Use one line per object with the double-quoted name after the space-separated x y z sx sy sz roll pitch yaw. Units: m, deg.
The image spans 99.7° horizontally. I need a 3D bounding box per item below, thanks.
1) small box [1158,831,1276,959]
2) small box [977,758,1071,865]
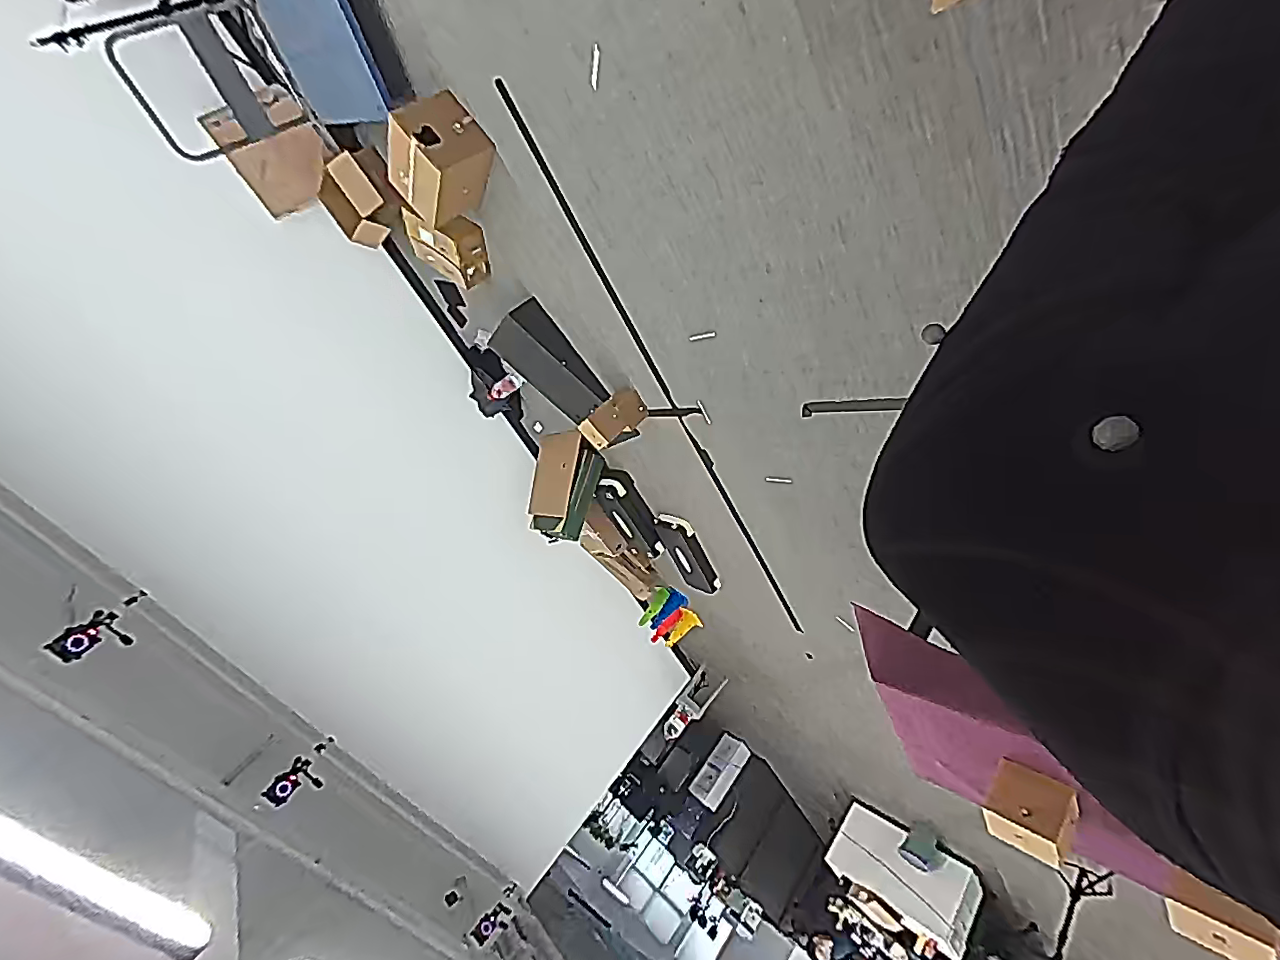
1.316 0.952 1.235 0.168 0.176 0.179 6 135 53 "small box"
1.090 0.926 1.532 0.179 0.176 0.168 9 137 49 "small box"
